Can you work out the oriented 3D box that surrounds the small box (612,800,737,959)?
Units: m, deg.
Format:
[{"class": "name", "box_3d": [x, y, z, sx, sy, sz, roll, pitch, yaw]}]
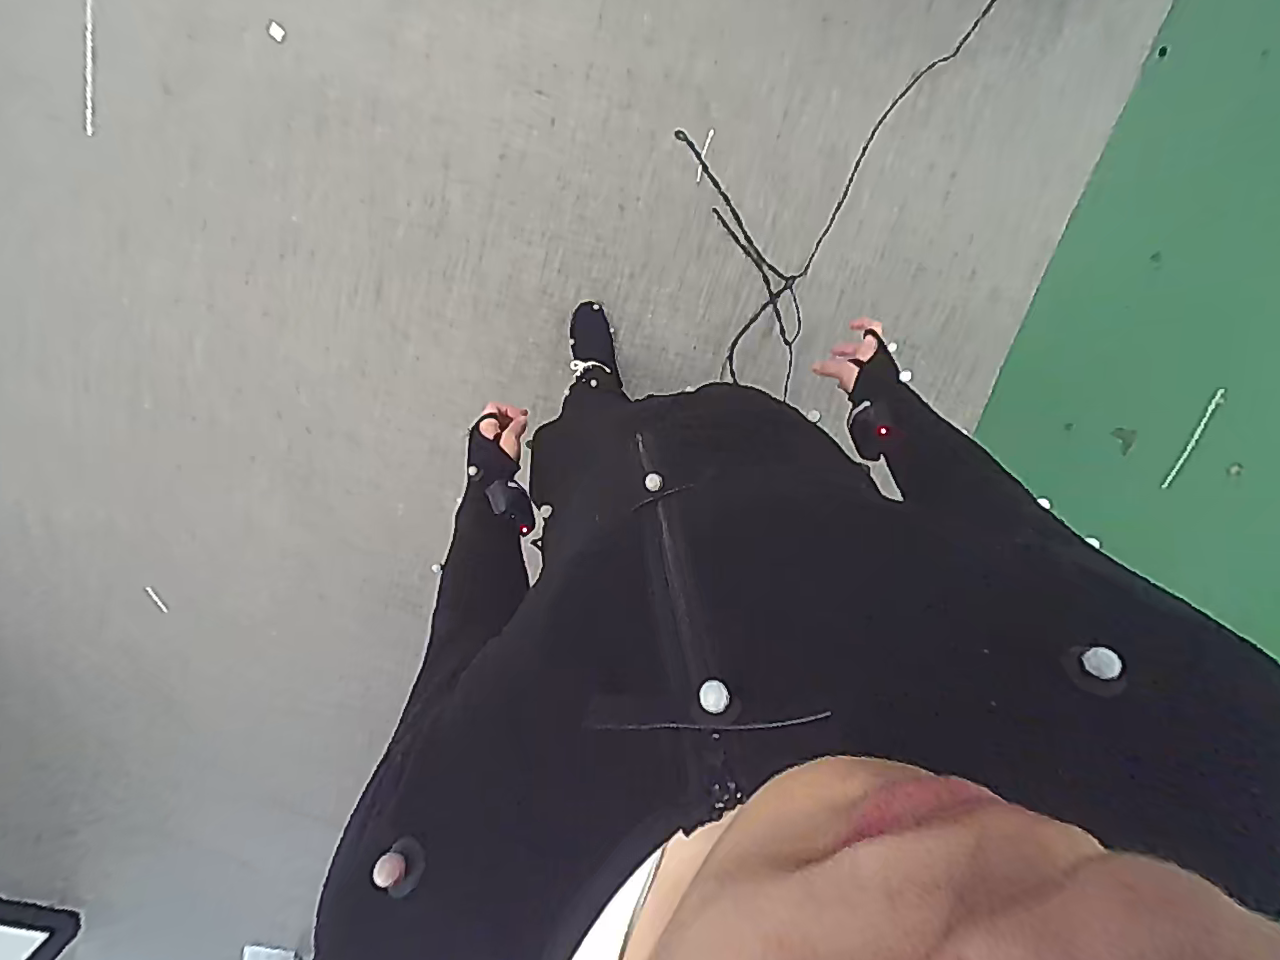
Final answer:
[{"class": "small box", "box_3d": [0.059, 0.739, 0.993, 0.168, 0.176, 0.179, 21, 105, -7]}]
